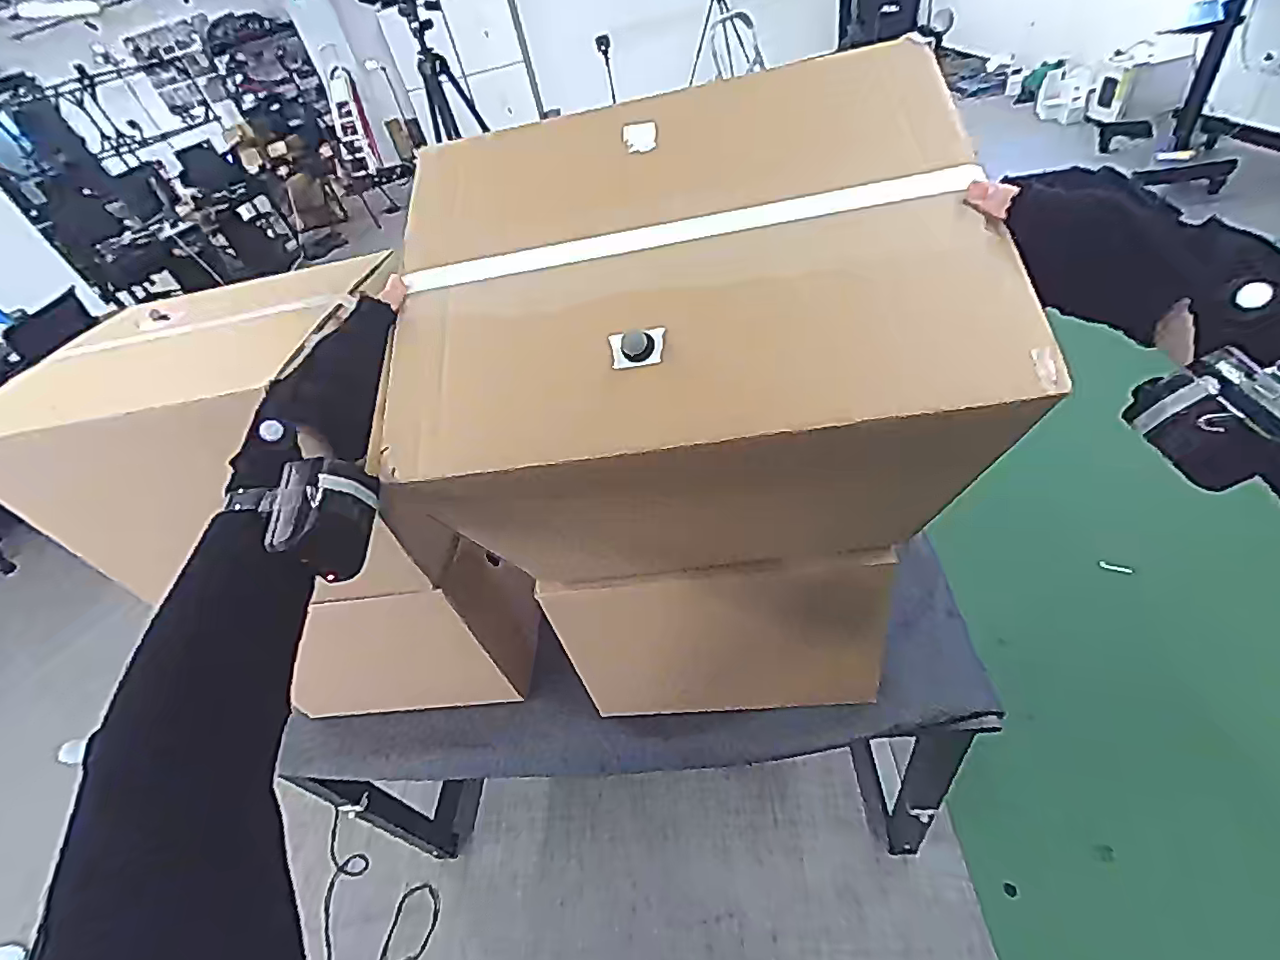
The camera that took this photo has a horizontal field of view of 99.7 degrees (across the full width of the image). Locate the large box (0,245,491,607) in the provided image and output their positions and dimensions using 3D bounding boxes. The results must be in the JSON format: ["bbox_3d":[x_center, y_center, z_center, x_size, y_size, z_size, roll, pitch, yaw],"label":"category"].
[{"bbox_3d":[-0.466,-0.059,0.714,0.408,0.320,0.320,-8,43,10],"label":"large box"}]
